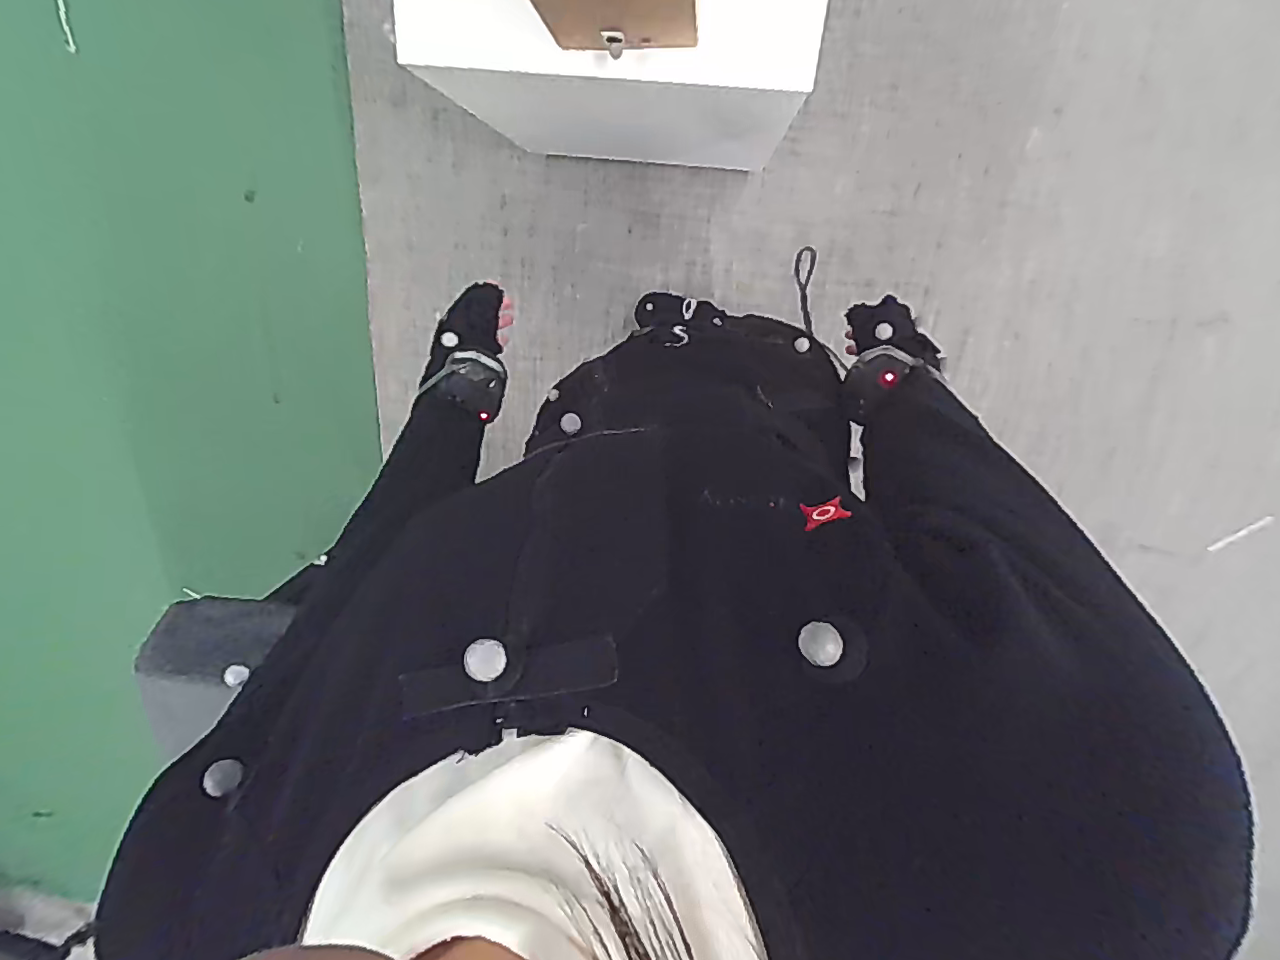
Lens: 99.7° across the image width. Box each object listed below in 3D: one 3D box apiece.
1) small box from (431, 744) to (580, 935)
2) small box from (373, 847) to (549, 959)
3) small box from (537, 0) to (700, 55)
[{"bbox_3d":[-0.194,0.535,0.820,0.179,0.176,0.168,9,112,4],"label":"small box"},{"bbox_3d":[-0.216,0.605,0.673,0.168,0.176,0.179,5,114,7],"label":"small box"},{"bbox_3d":[-0.024,-0.555,0.530,0.168,0.176,0.179,3,112,8],"label":"small box"}]
